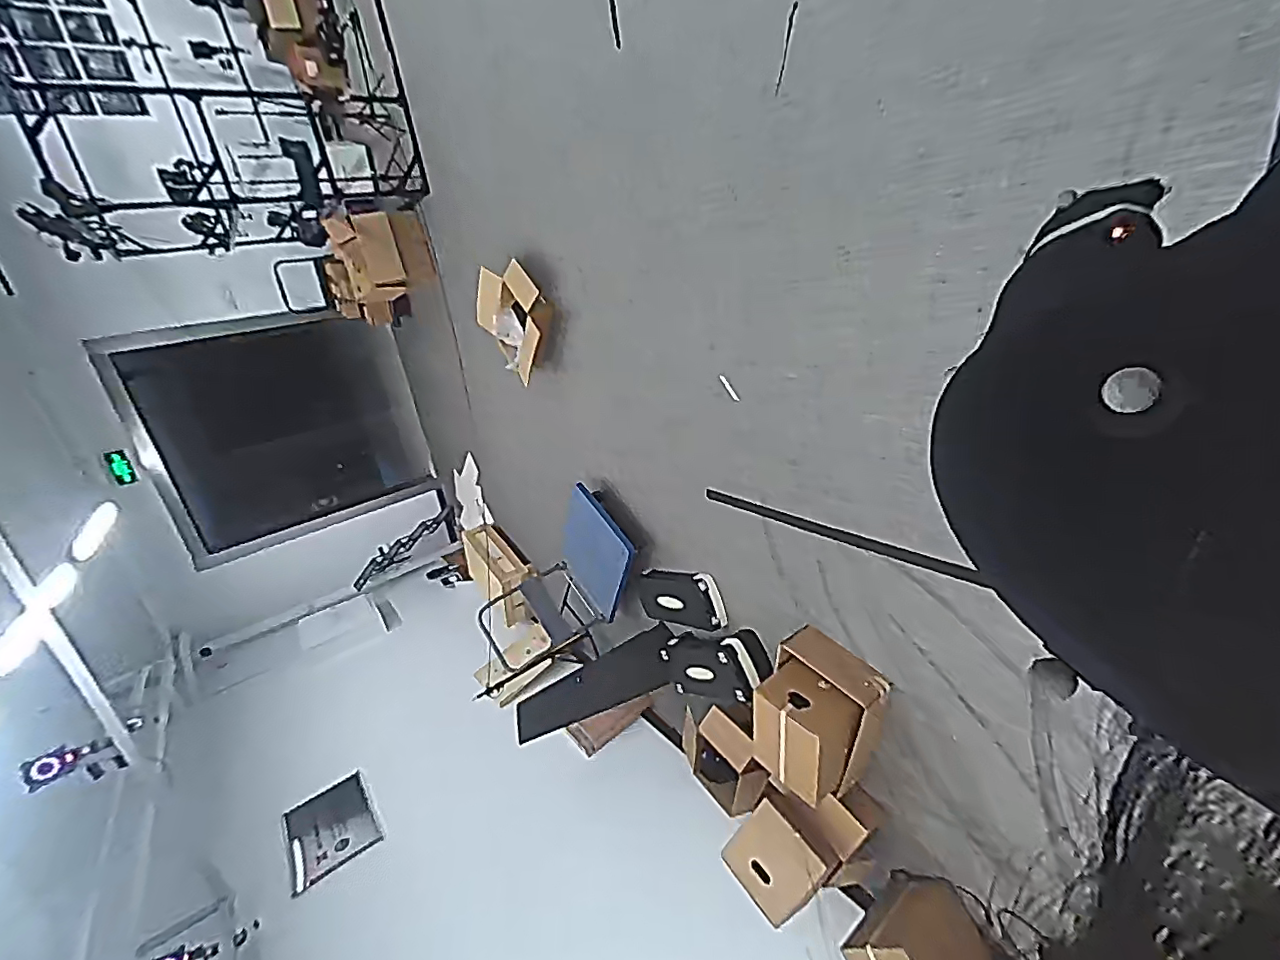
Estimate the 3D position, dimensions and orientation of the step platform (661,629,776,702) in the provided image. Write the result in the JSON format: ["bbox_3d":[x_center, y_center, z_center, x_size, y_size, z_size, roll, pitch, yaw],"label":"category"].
[{"bbox_3d":[0.378,0.958,2.806,0.684,0.204,0.286,-30,84,57],"label":"step platform"}]
